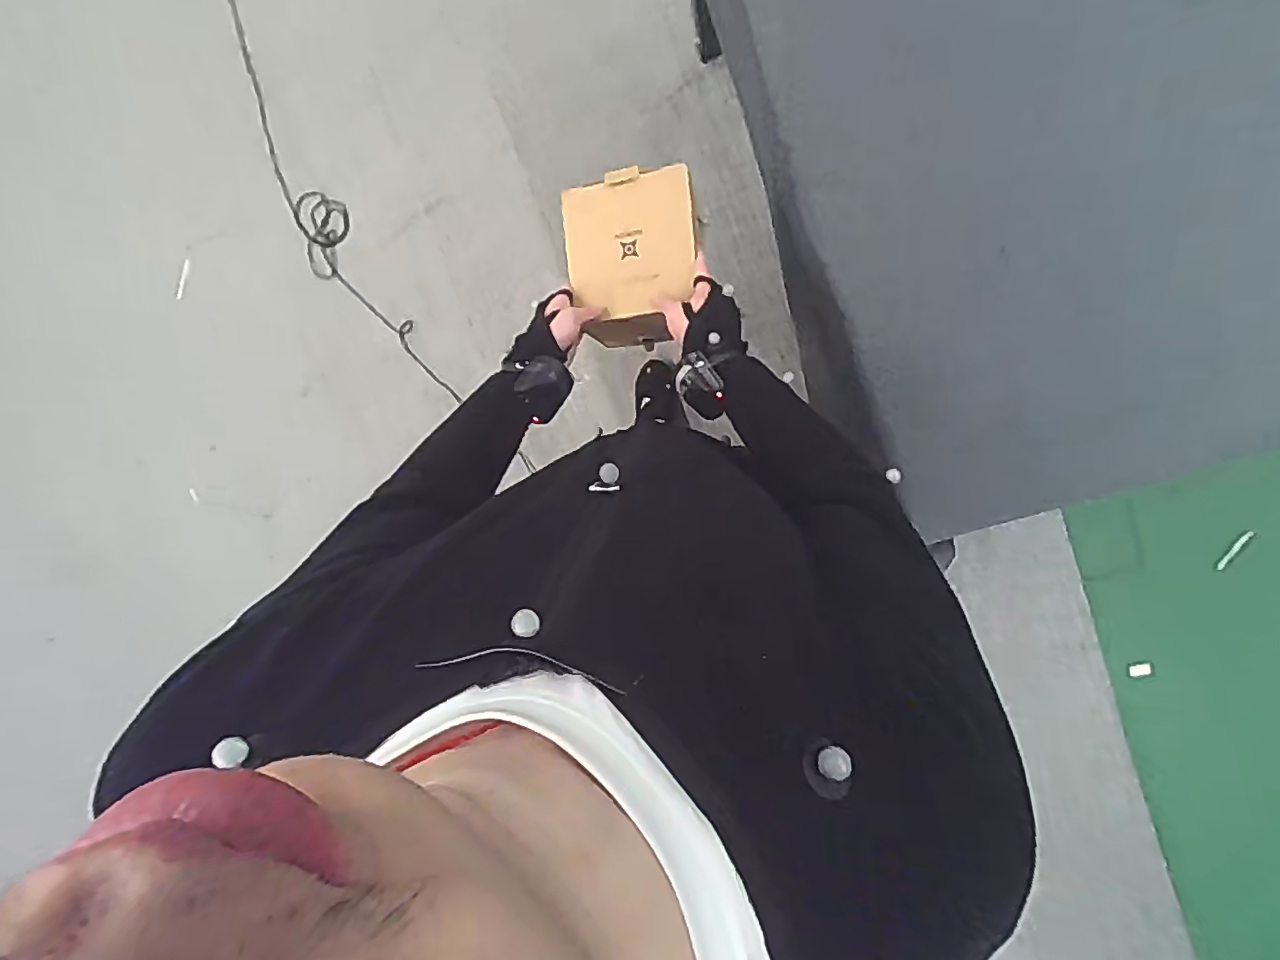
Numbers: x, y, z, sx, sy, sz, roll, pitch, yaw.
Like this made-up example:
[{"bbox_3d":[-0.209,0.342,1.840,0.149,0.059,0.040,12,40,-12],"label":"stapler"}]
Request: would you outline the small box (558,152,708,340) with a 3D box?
[{"bbox_3d":[-0.001,-0.299,0.731,0.168,0.176,0.179,-2,93,15],"label":"small box"}]
